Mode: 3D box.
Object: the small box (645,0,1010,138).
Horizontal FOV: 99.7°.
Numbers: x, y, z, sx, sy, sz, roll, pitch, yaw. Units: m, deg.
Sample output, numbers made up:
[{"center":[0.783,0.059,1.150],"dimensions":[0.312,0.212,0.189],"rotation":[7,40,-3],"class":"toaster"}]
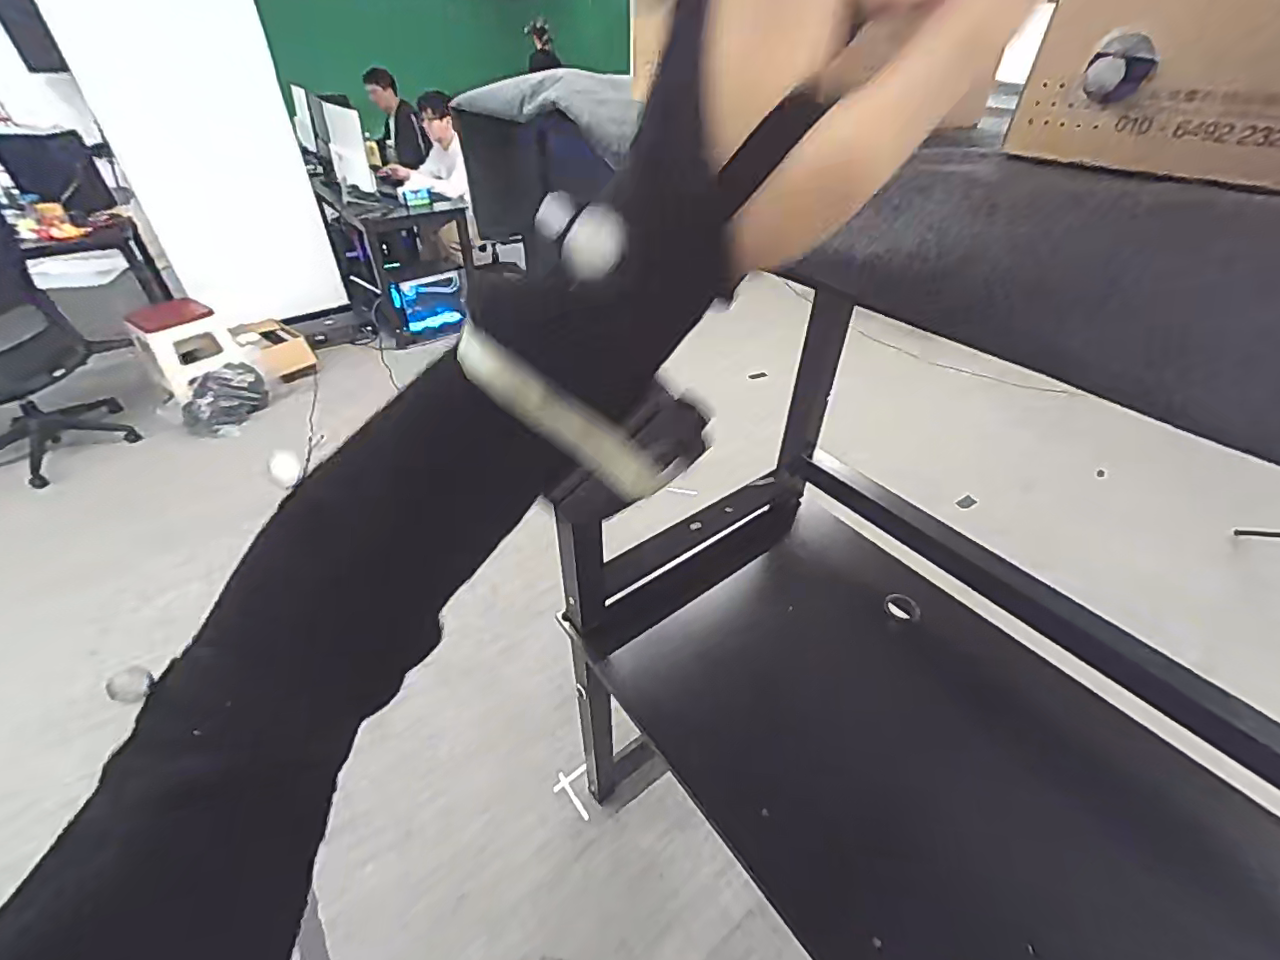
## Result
[{"center":[0.115,-0.312,0.323],"dimensions":[0.179,0.176,0.168],"rotation":[-24,46,-31],"class":"small box"}]
